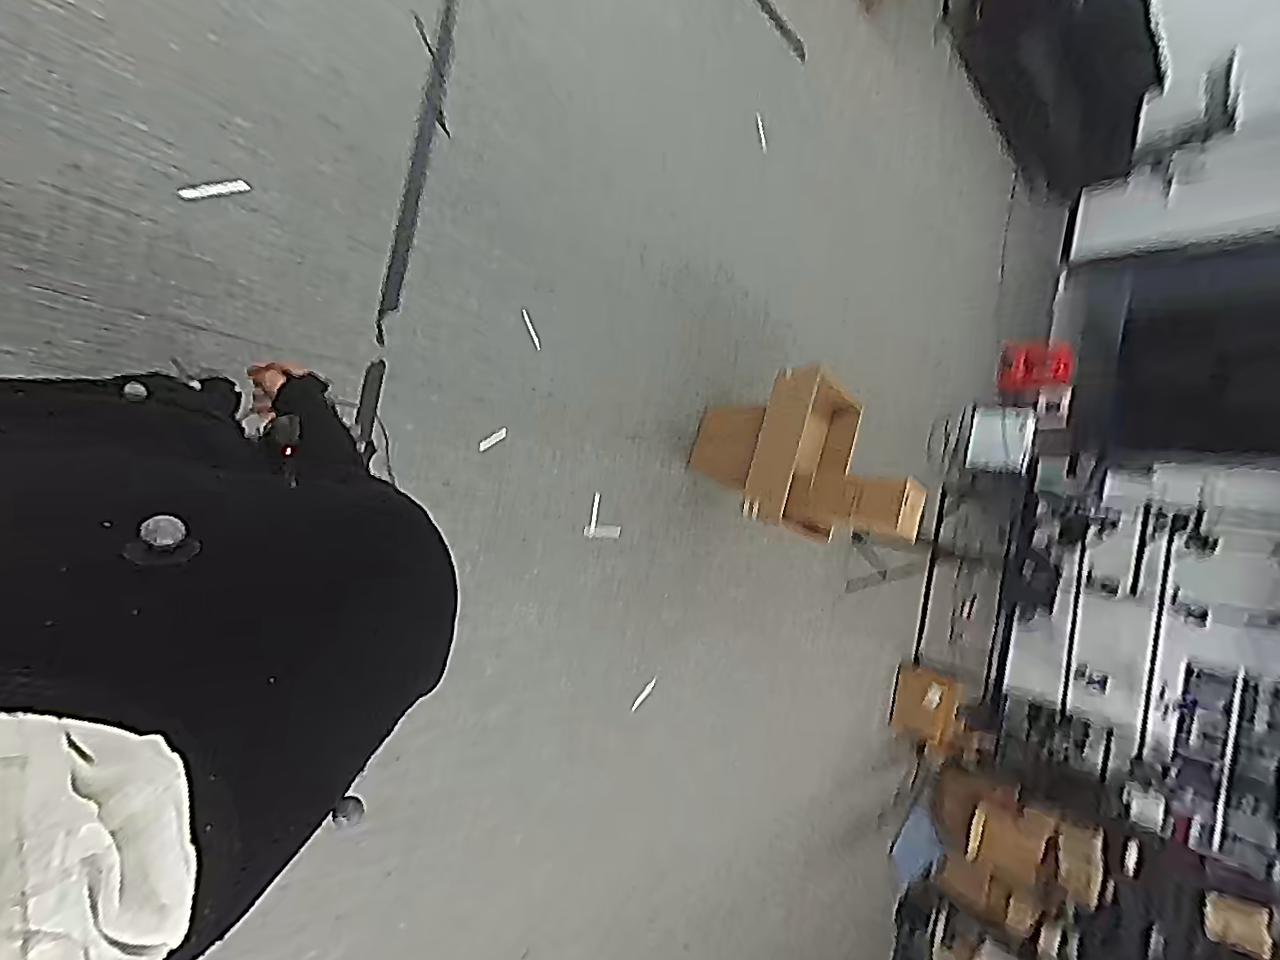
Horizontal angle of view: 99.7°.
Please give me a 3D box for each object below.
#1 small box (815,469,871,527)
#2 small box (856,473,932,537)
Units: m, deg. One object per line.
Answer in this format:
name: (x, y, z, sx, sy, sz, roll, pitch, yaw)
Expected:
small box: (0.759, 0.064, 1.972, 0.168, 0.176, 0.179, 18, 83, -41)
small box: (0.870, 0.082, 1.852, 0.179, 0.176, 0.168, 26, 77, -41)
